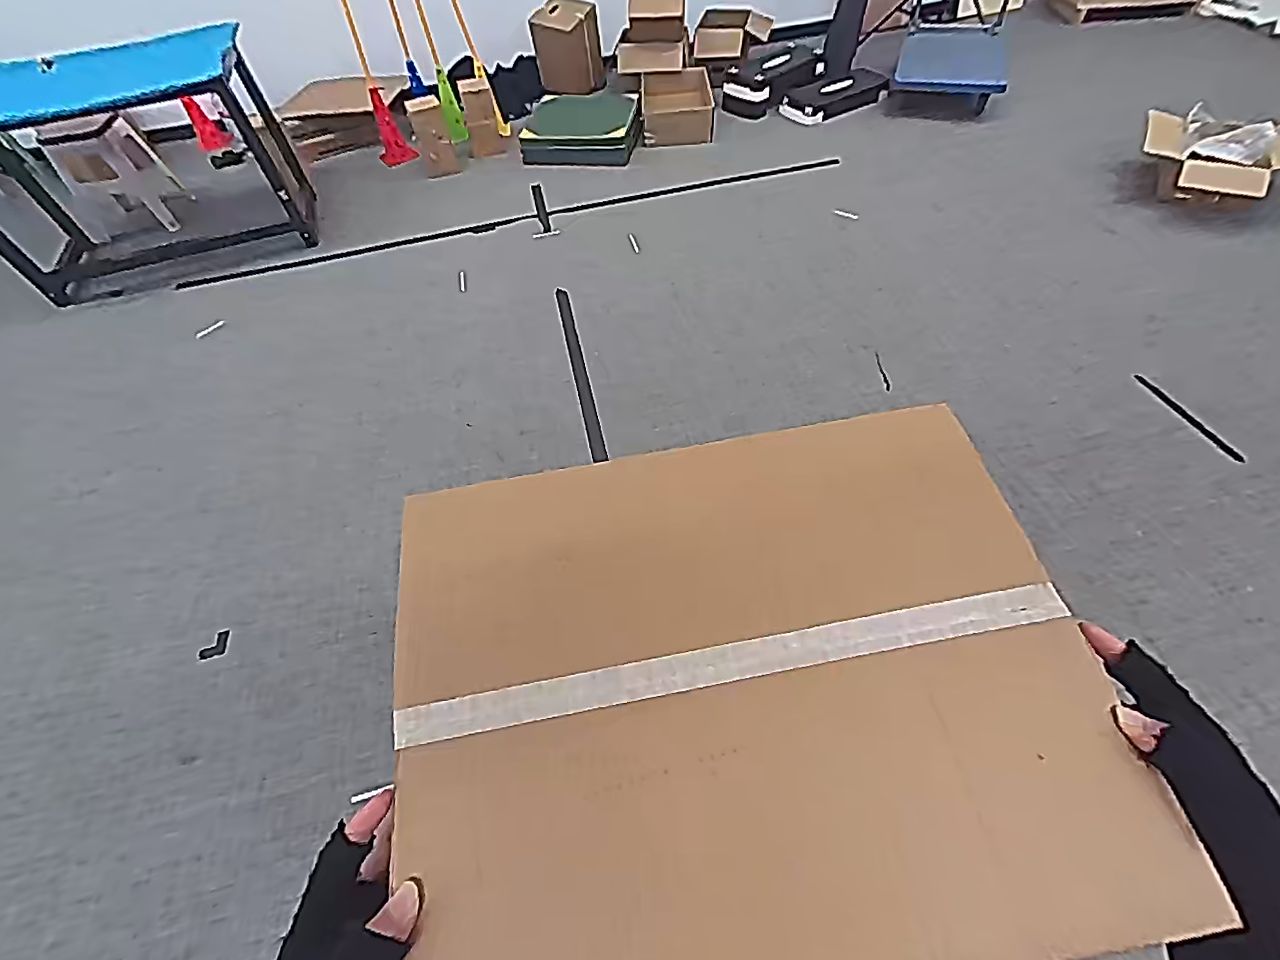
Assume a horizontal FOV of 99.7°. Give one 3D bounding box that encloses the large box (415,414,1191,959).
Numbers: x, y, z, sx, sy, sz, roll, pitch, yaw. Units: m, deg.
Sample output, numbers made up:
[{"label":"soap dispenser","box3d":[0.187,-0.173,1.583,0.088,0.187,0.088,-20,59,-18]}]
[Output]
[{"label":"large box","box3d":[0.066,0.188,0.465,0.408,0.320,0.320,-10,61,-2]}]
